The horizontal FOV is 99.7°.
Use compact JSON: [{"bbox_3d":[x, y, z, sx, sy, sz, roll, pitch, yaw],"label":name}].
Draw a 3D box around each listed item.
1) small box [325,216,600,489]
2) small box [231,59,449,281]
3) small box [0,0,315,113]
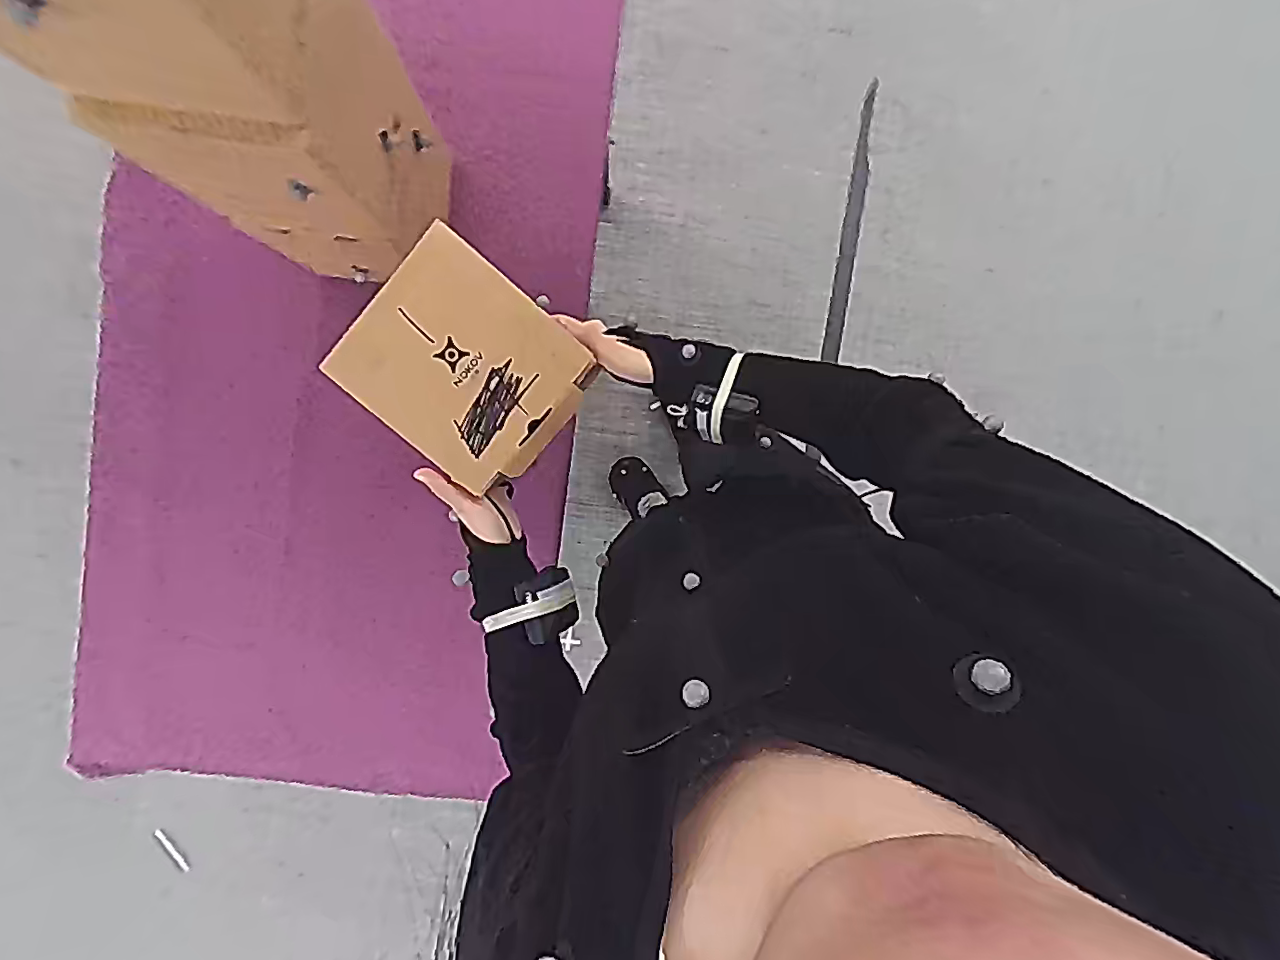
[{"bbox_3d":[-0.154,-0.117,0.542,0.179,0.176,0.168,42,94,-6],"label":"small box"},{"bbox_3d":[-0.335,-0.349,0.637,0.168,0.176,0.179,6,94,-2],"label":"small box"},{"bbox_3d":[-0.320,-0.347,0.309,0.179,0.176,0.168,6,93,-2],"label":"small box"}]
